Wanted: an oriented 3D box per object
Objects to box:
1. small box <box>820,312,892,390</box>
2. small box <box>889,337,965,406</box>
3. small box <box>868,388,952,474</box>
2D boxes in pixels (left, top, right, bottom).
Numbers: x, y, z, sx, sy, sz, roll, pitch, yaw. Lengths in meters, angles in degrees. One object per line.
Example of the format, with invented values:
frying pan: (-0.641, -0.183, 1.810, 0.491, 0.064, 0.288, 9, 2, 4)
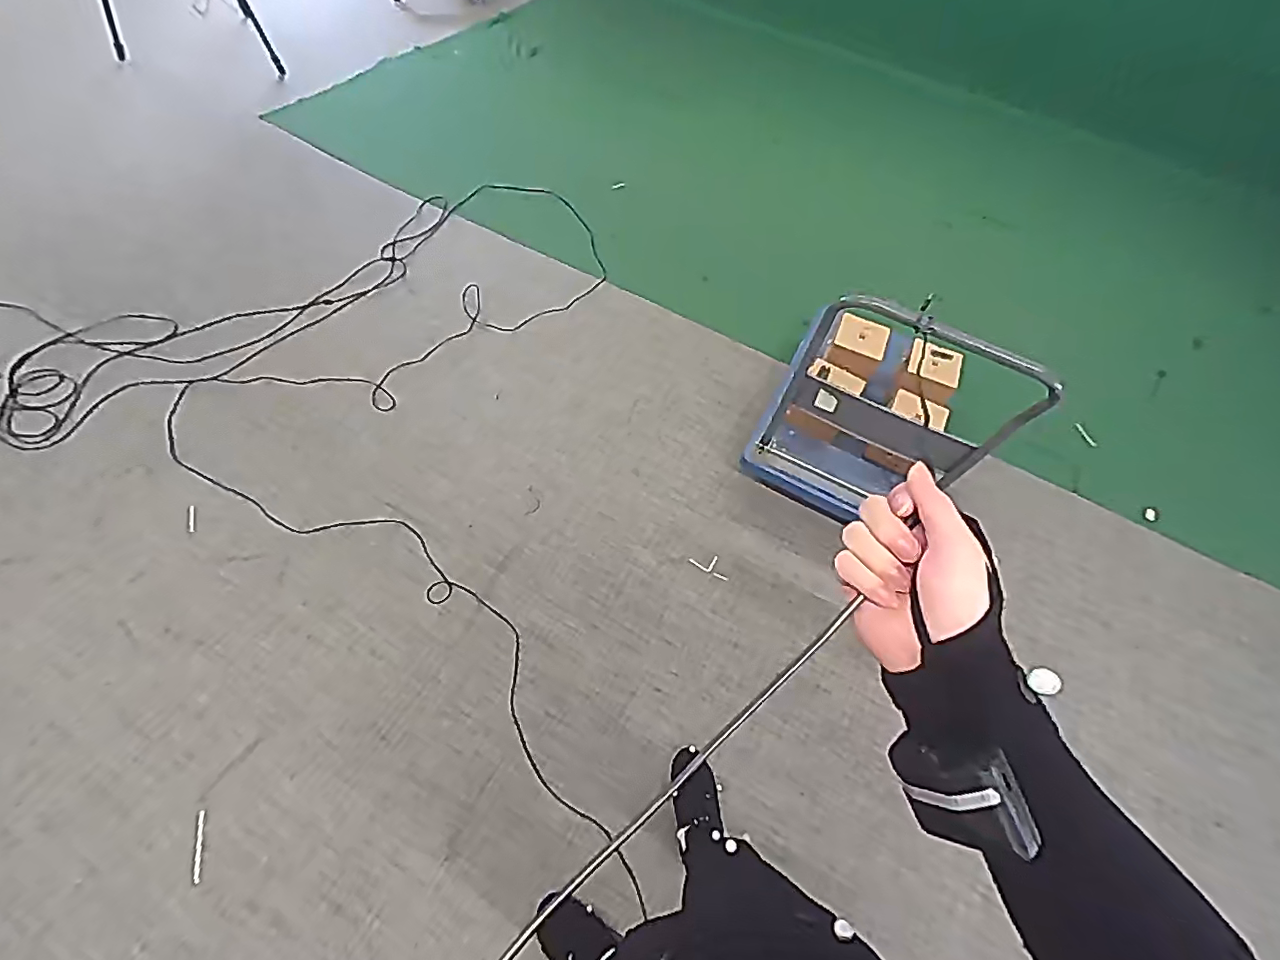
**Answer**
small box: (0.751, -0.446, 1.892, 0.168, 0.176, 0.179, 24, 59, 8)
small box: (0.980, -0.349, 1.854, 0.168, 0.176, 0.179, 23, 60, 10)
small box: (0.852, -0.152, 1.719, 0.168, 0.176, 0.179, 27, 60, 11)
